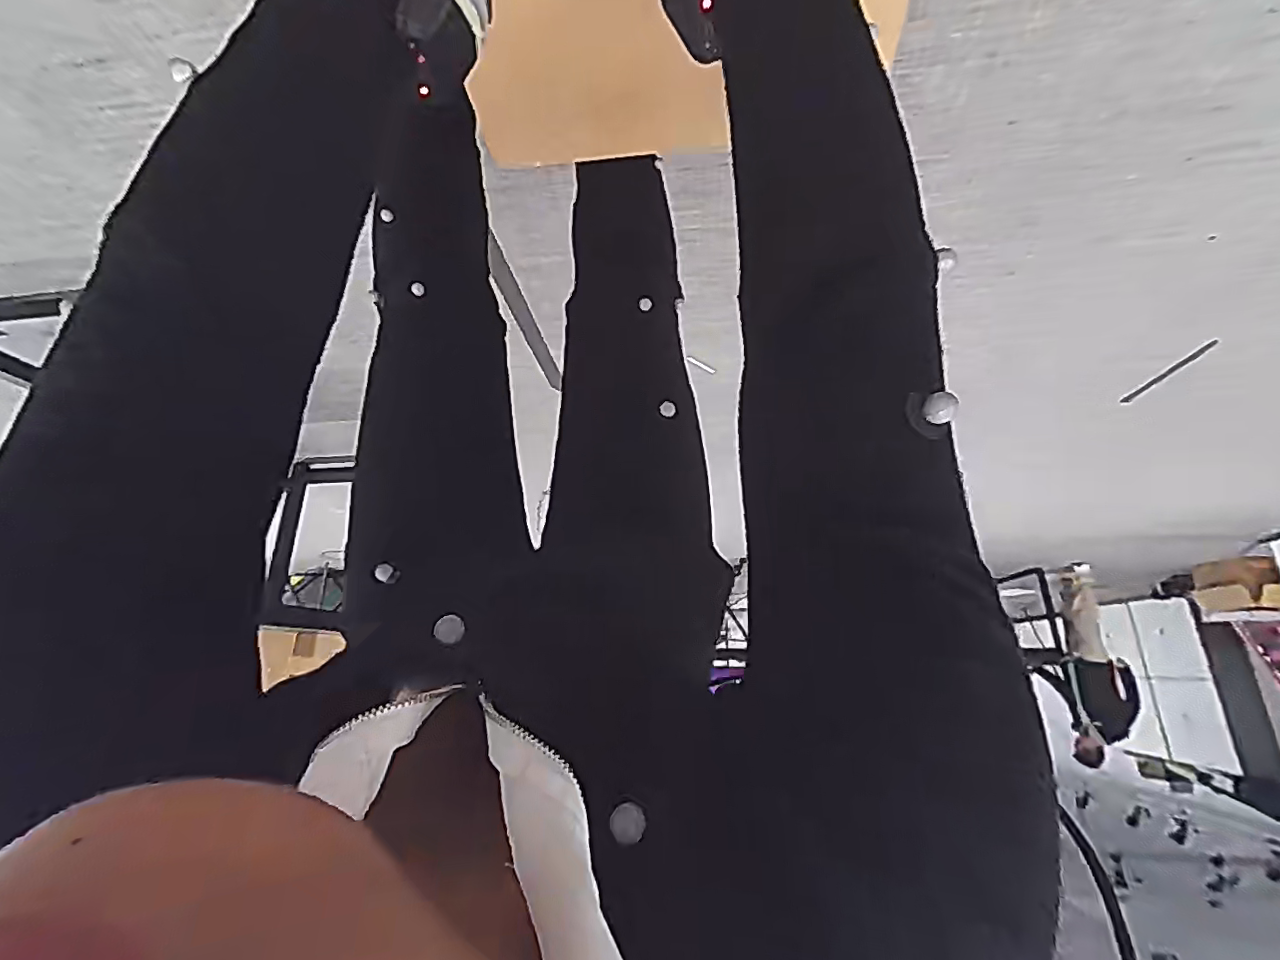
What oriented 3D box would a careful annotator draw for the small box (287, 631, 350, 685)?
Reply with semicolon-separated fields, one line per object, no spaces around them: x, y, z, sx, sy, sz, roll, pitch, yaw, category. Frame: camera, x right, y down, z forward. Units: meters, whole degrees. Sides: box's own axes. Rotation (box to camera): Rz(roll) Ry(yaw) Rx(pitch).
-1.145;0.618;1.880;0.168;0.176;0.179;-3;161;9;small box

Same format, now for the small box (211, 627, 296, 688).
-1.180;0.532;1.623;0.168;0.176;0.179;-1;162;6;small box
